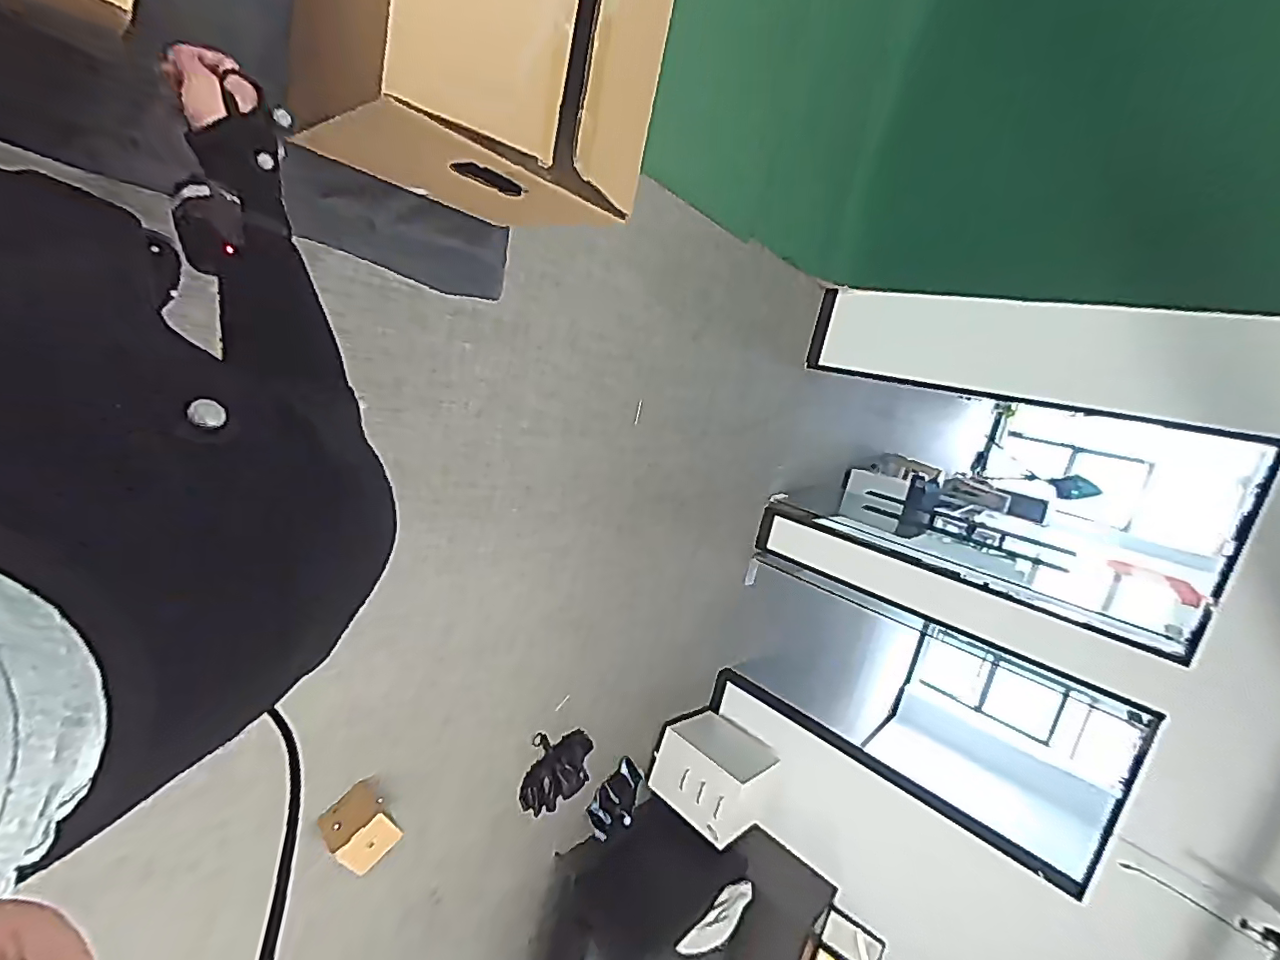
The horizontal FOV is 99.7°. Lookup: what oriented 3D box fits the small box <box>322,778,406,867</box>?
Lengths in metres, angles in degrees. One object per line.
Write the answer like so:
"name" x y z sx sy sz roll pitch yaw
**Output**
"small box" -0.941 1.157 1.838 0.168 0.176 0.179 -40 135 -30
